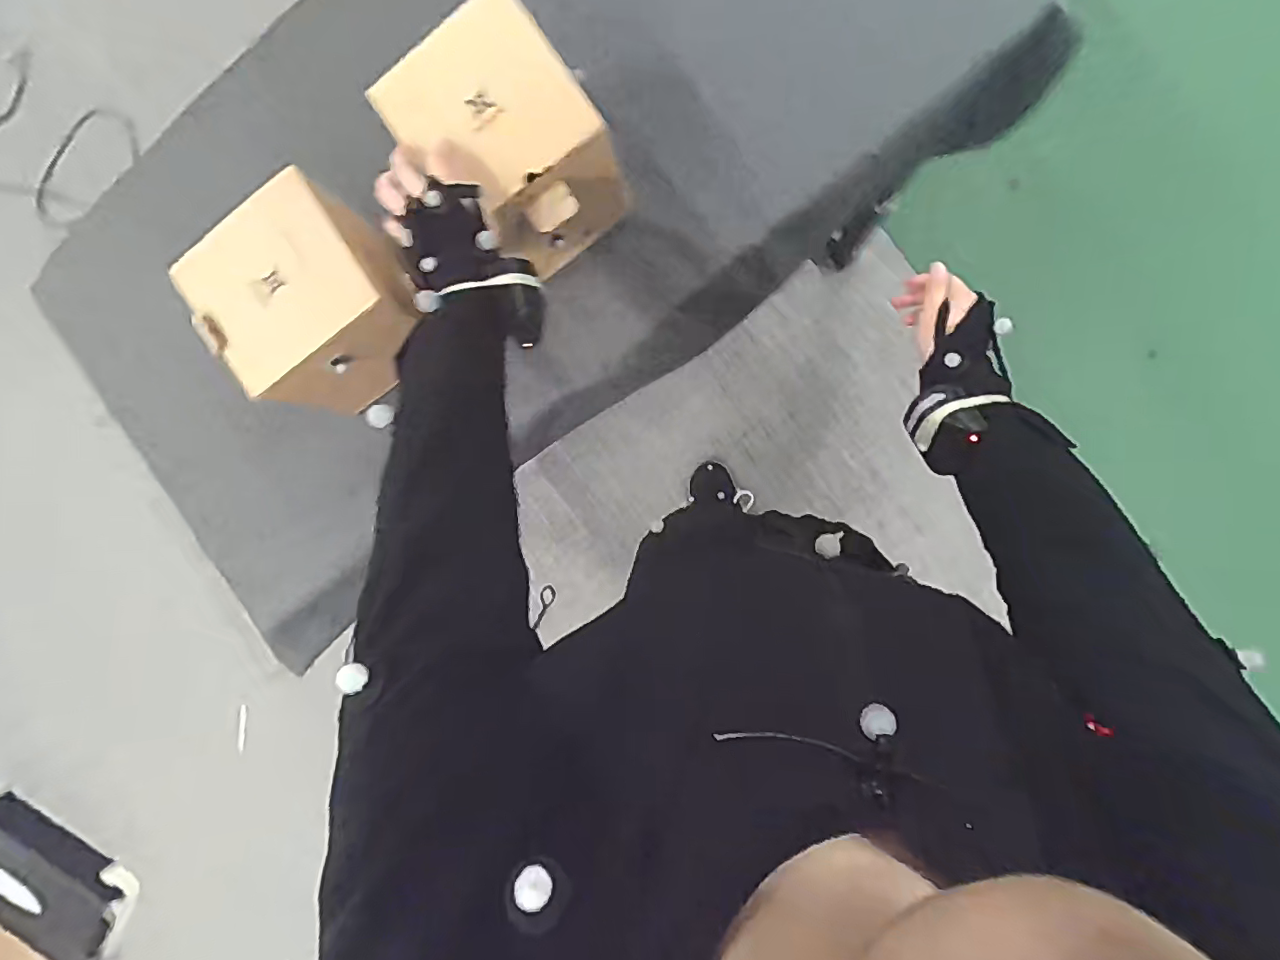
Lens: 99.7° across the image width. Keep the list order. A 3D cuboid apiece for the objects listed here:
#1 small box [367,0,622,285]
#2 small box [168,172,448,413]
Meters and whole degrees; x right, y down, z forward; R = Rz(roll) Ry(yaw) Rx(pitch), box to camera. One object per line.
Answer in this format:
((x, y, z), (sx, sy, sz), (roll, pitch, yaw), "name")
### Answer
((-0.140, -0.346, 0.583), (0.168, 0.176, 0.179), (-35, 87, 7), "small box")
((-0.359, -0.192, 0.617), (0.179, 0.176, 0.168), (-34, 87, 7), "small box")
